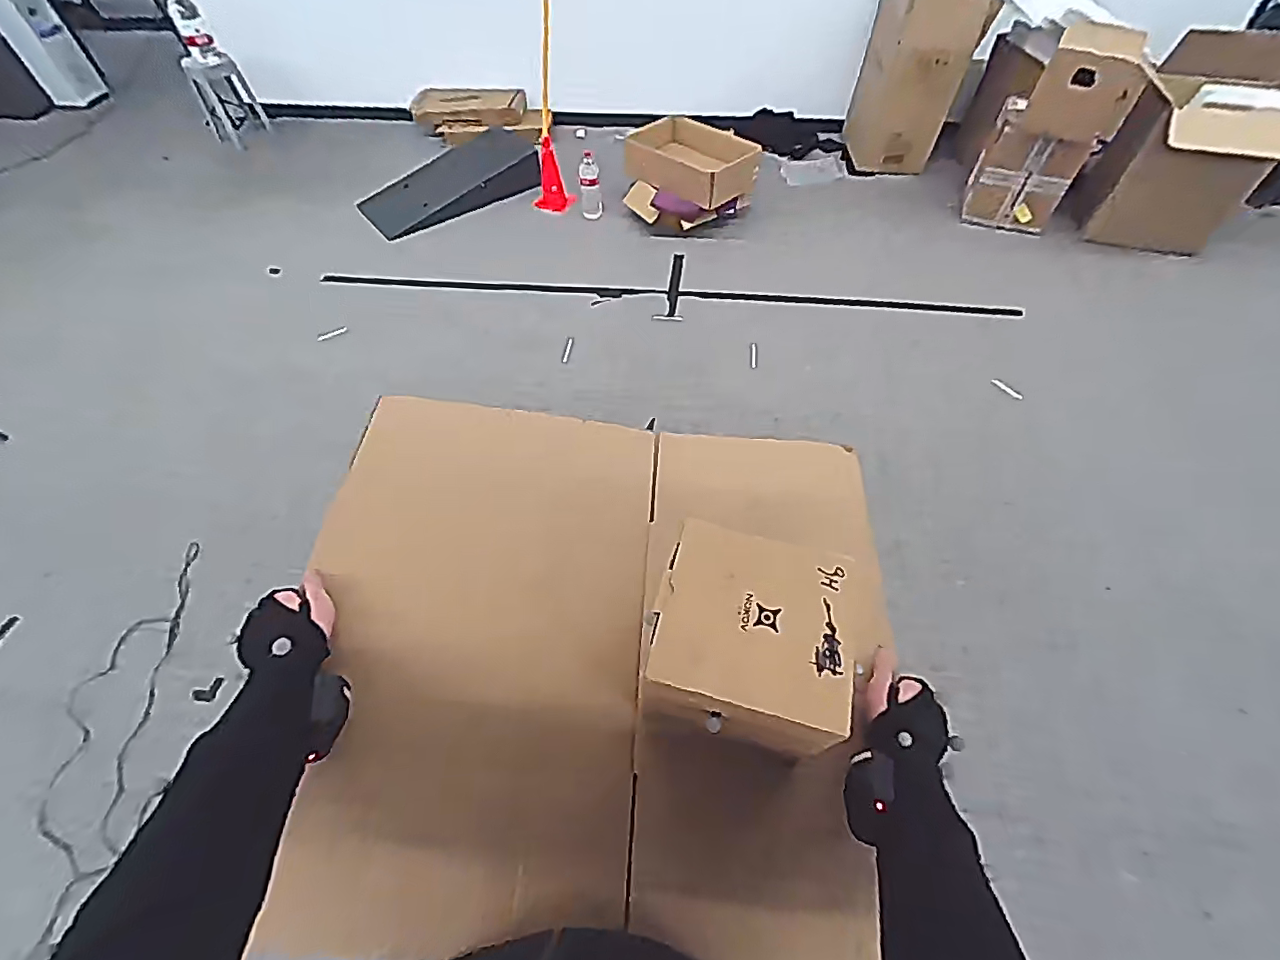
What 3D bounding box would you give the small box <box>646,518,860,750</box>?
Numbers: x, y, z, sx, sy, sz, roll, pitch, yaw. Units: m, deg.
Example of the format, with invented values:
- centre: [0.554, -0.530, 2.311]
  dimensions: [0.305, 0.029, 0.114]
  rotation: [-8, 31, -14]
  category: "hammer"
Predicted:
- centre: [0.111, 0.166, 0.566]
  dimensions: [0.179, 0.176, 0.168]
  rotation: [13, 58, 9]
  category: "small box"
